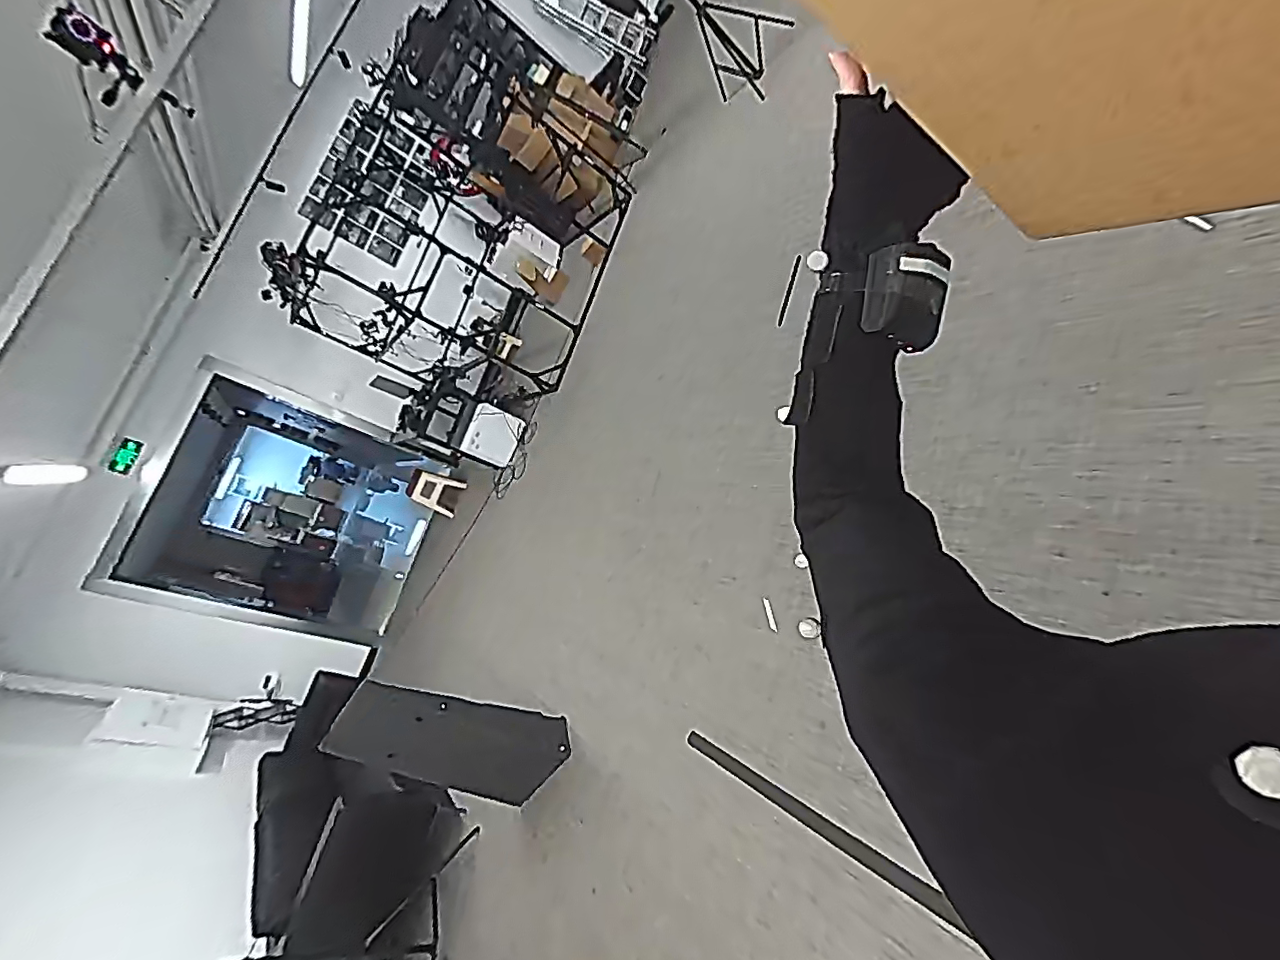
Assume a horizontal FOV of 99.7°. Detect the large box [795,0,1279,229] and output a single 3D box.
[{"bbox_3d":[0.266,-0.312,0.128,0.320,0.320,0.408,-60,19,9],"label":"large box"}]
